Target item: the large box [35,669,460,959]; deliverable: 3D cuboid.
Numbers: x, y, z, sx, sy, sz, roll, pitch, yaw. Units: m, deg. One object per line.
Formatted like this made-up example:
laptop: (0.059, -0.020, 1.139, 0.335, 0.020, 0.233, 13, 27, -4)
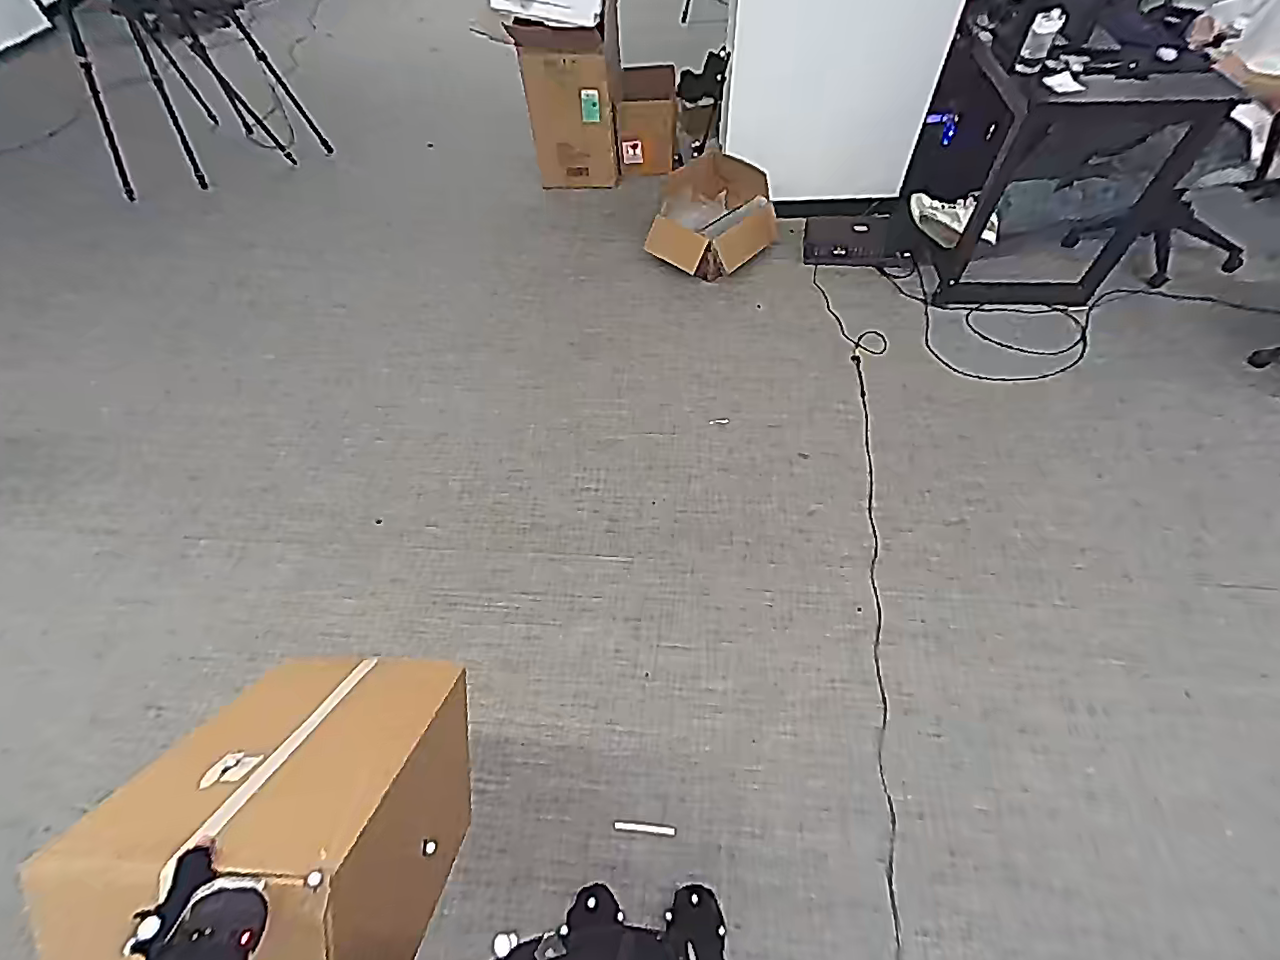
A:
large box: (-0.467, 0.517, 0.765, 0.320, 0.320, 0.408, 1, 11, 0)
